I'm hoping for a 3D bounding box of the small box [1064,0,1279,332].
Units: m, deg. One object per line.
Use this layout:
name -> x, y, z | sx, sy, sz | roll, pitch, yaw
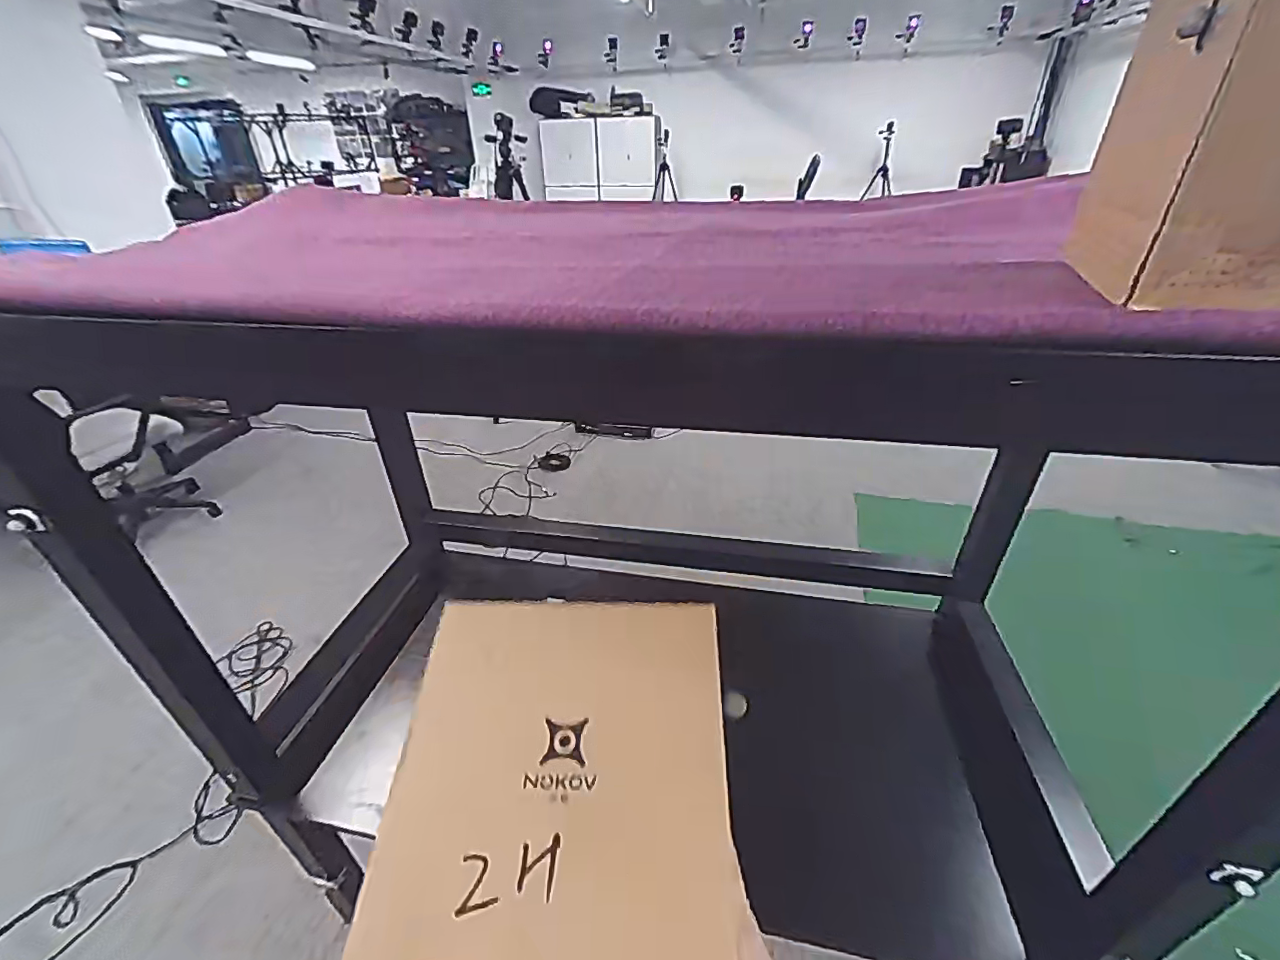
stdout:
small box -> 0.381, -0.188, 0.307 | 0.168, 0.176, 0.179 | 11, 36, 19
